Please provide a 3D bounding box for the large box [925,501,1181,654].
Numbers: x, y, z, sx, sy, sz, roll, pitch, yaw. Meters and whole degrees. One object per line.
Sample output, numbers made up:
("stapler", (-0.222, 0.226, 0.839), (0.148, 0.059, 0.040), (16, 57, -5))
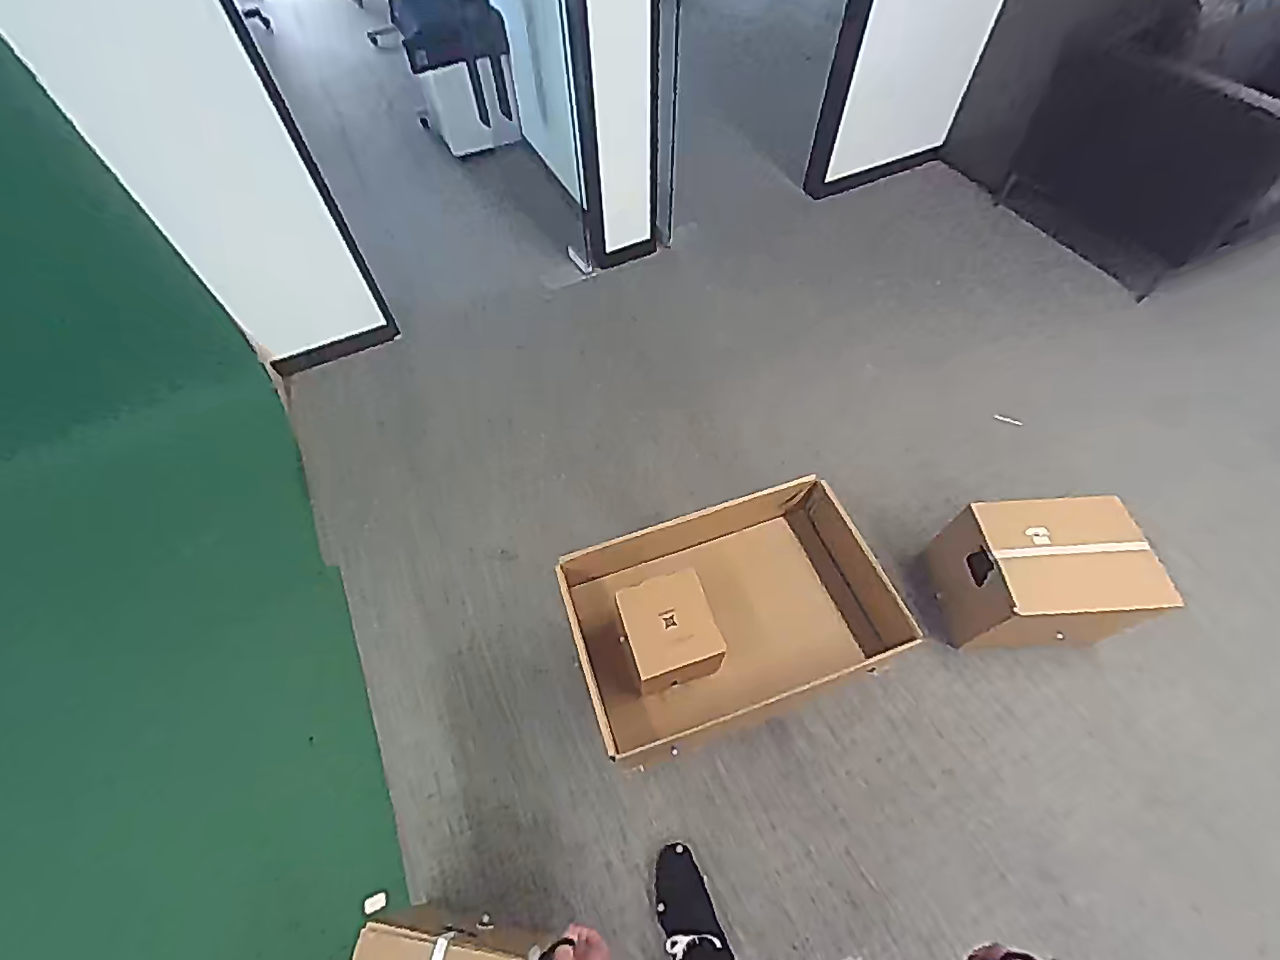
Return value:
("large box", (1.086, 0.276, 1.483), (0.408, 0.320, 0.320), (-3, 56, 0))
